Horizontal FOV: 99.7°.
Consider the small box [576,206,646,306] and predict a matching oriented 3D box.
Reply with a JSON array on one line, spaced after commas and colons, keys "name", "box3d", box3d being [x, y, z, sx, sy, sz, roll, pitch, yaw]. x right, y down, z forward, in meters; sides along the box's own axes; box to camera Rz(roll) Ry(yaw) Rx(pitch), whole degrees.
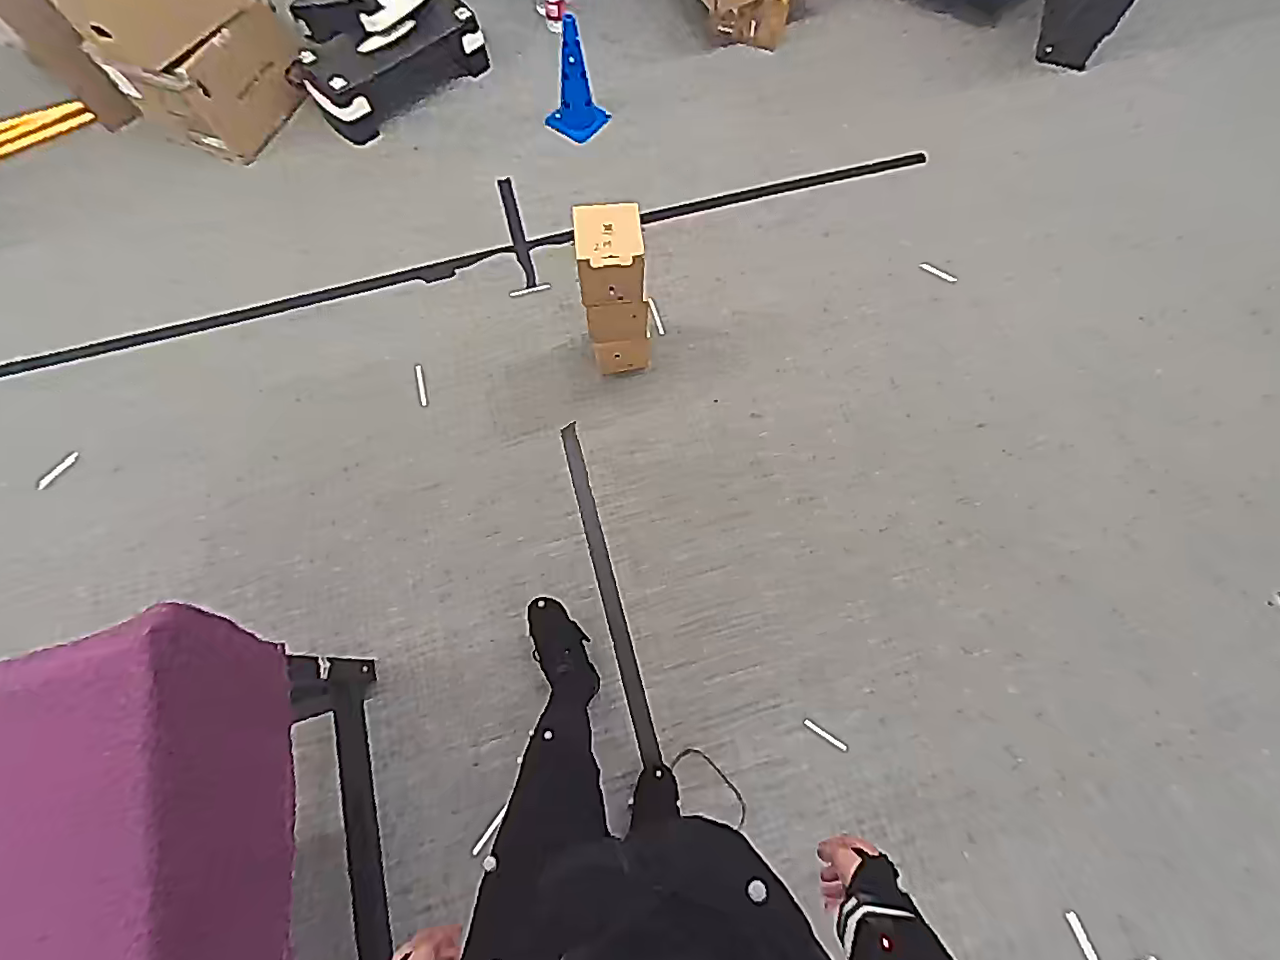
[{"name": "small box", "box3d": [-0.076, -0.578, 1.402, 0.168, 0.176, 0.179, -5, 70, -3]}]

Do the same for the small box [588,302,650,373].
[{"name": "small box", "box3d": [-0.065, -0.454, 1.708, 0.168, 0.176, 0.179, -11, 70, -5]}]
